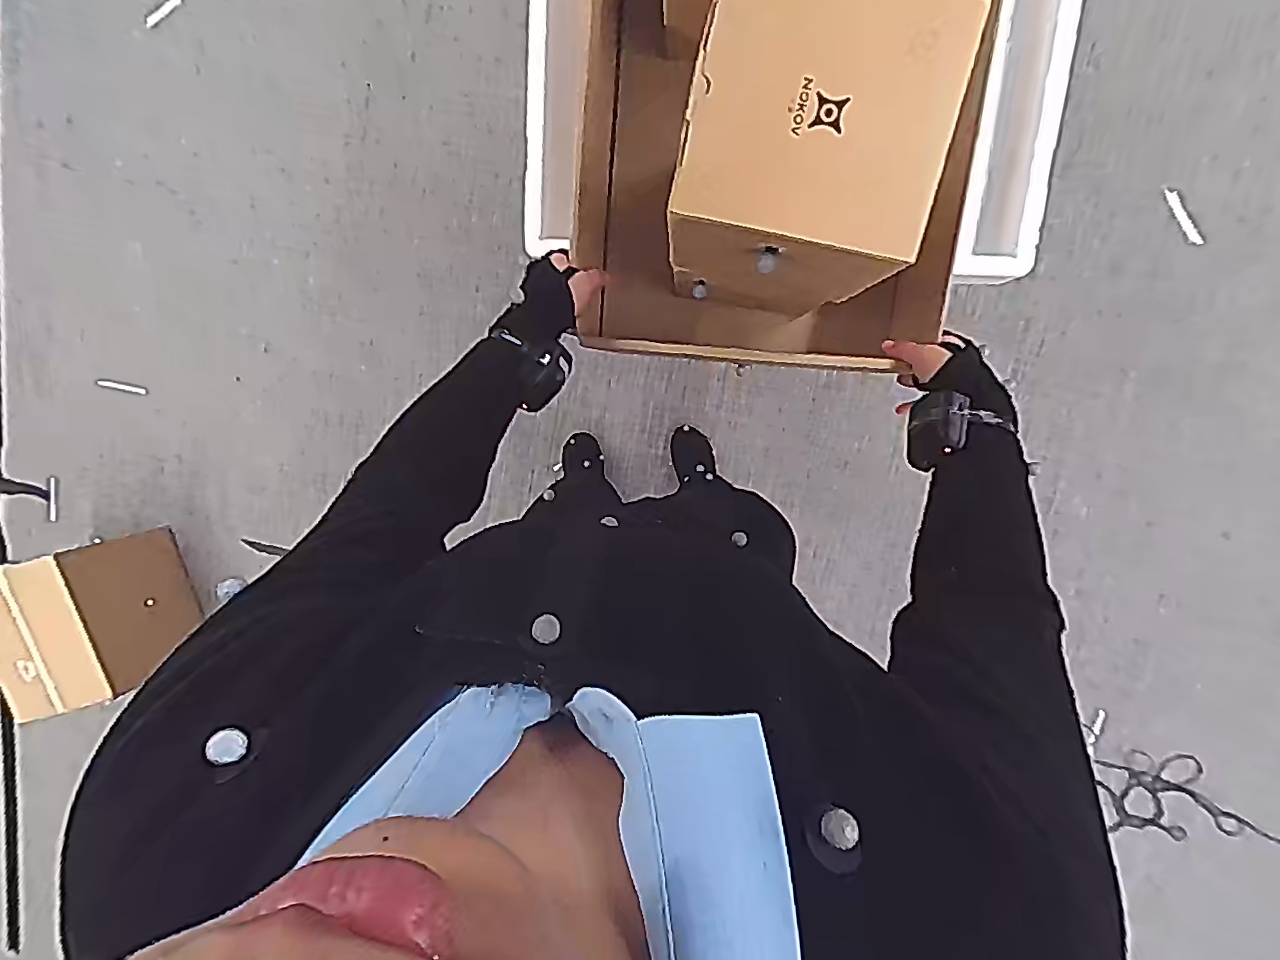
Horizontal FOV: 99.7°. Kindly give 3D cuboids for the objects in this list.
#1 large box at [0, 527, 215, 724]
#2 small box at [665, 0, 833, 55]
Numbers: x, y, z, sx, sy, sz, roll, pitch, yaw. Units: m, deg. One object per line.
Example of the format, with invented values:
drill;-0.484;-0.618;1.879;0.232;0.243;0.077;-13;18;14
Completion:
large box;-1.529;0.392;1.527;0.320;0.320;0.408;-16;98;8
small box;0.116;-0.567;0.545;0.179;0.176;0.168;2;101;3
